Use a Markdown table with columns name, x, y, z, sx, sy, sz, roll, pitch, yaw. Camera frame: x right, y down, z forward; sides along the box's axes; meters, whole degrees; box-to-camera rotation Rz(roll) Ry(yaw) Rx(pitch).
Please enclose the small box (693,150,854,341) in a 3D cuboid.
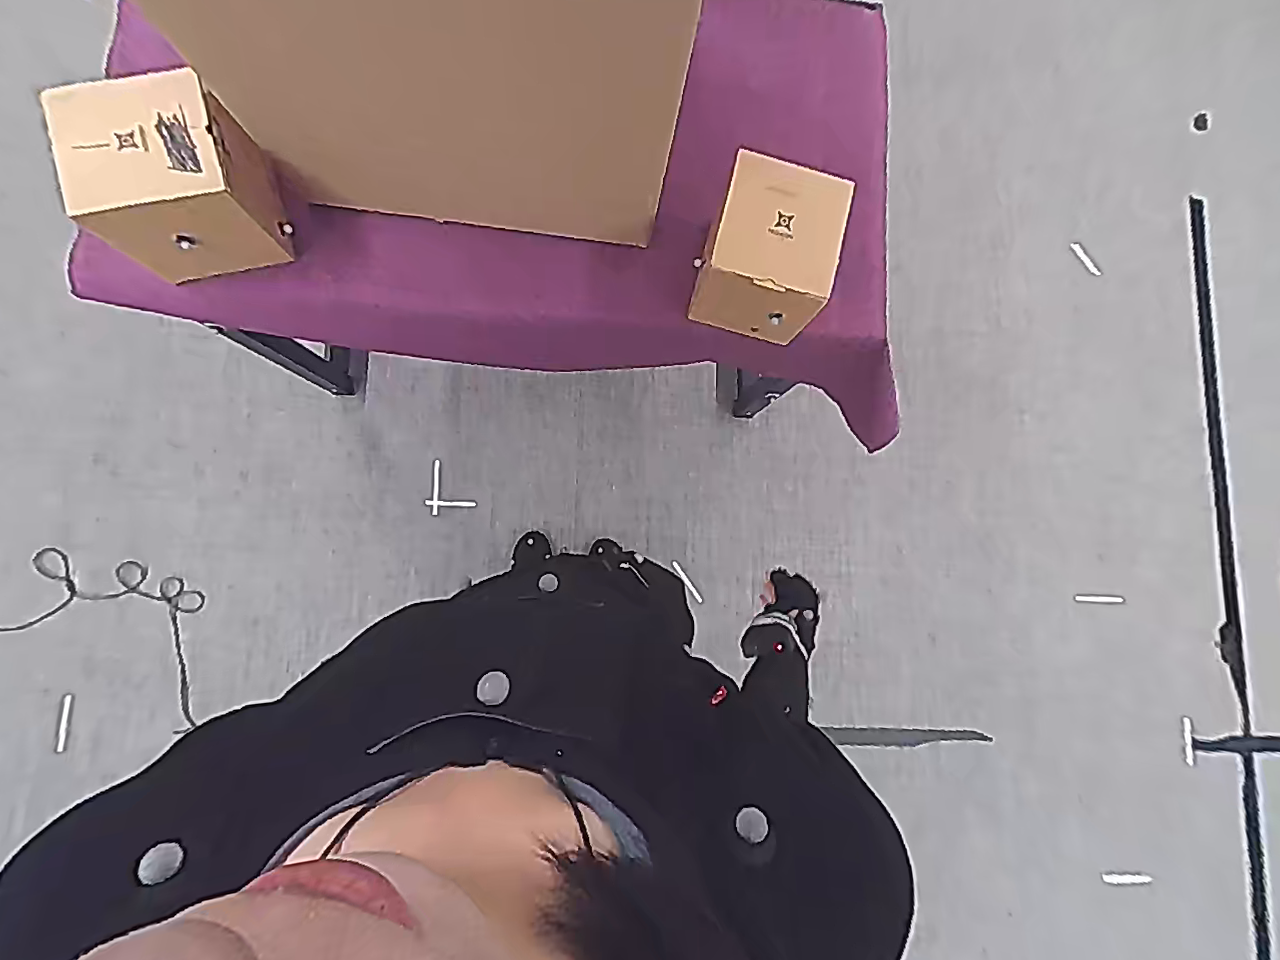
| name | x | y | z | sx | sy | sz | roll | pitch | yaw |
| --- | --- | --- | --- | --- | --- | --- | --- | --- | --- |
| small box | 0.182 | -0.326 | 0.789 | 0.168 | 0.176 | 0.179 | 14 | 81 | -4 |
